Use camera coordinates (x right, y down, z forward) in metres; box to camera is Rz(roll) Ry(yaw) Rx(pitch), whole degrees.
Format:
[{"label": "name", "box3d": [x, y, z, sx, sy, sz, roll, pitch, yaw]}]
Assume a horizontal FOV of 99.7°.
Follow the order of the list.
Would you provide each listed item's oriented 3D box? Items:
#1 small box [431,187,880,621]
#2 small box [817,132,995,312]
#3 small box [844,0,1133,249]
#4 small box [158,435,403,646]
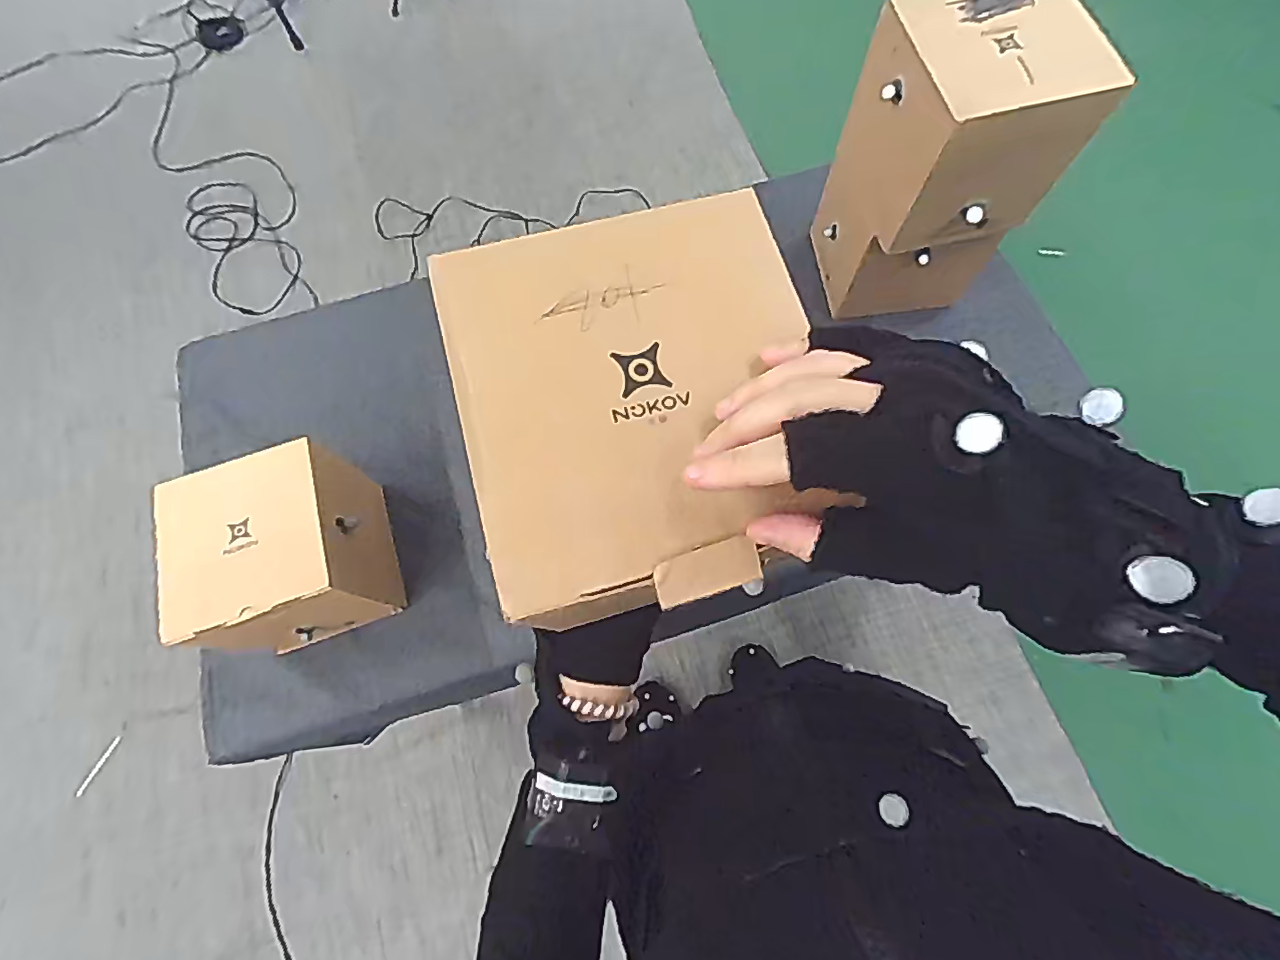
[{"label": "small box", "box3d": [0.000, -0.024, 0.316, 0.168, 0.176, 0.179, -15, 75, -6]}, {"label": "small box", "box3d": [0.352, -0.348, 0.735, 0.179, 0.176, 0.168, -6, 71, 1]}, {"label": "small box", "box3d": [0.339, -0.383, 0.574, 0.168, 0.176, 0.179, -12, 72, -1]}, {"label": "small box", "box3d": [-0.400, 0.079, 0.623, 0.168, 0.176, 0.179, -19, 71, -4]}]
